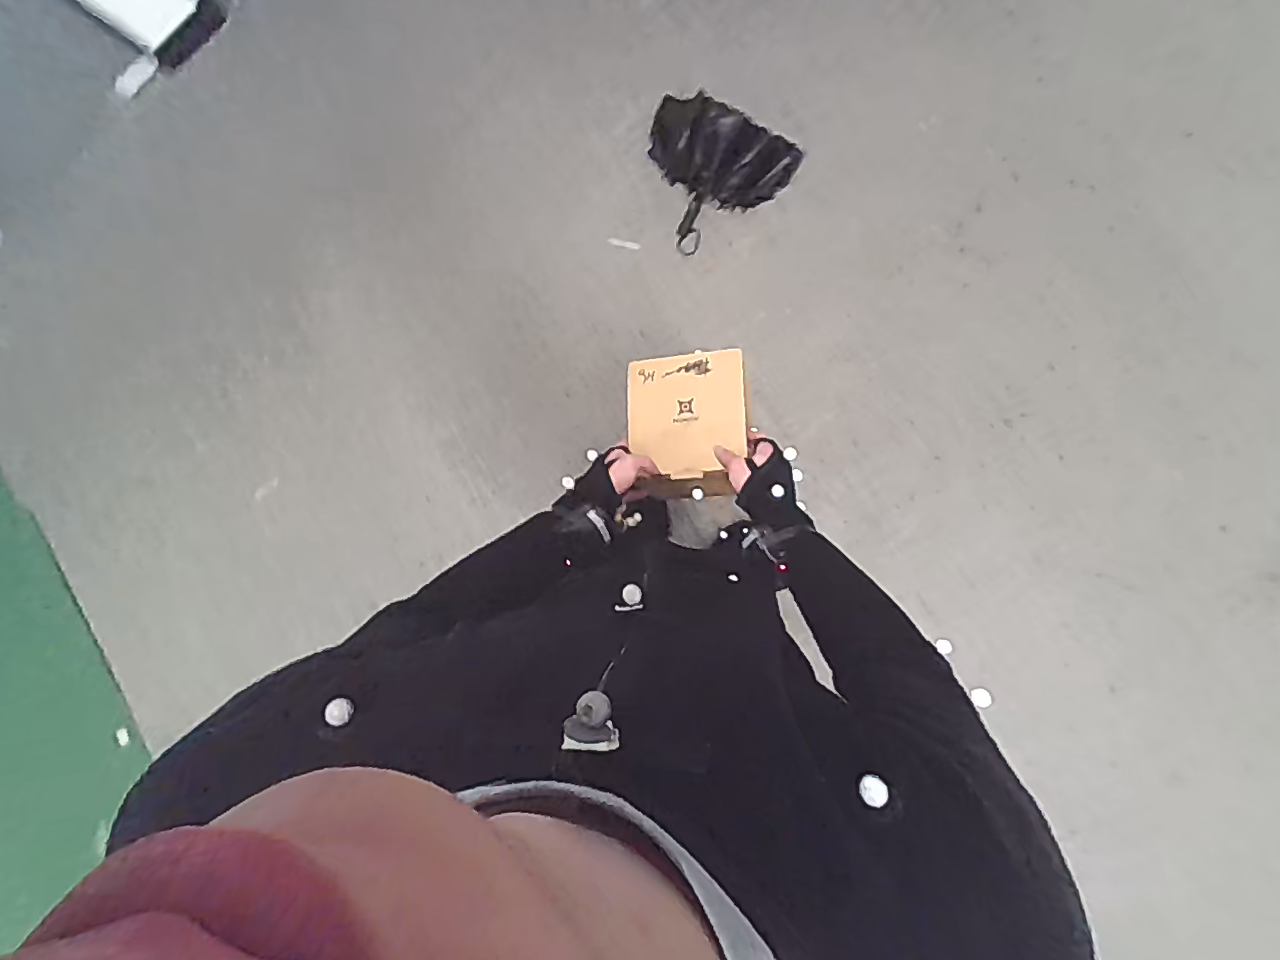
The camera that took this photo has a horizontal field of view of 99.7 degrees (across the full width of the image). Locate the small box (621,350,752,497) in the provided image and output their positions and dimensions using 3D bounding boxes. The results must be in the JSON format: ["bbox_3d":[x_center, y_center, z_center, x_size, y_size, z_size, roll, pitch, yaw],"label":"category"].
[{"bbox_3d":[0.075,-0.071,0.802,0.168,0.176,0.179,-3,77,15],"label":"small box"}]
